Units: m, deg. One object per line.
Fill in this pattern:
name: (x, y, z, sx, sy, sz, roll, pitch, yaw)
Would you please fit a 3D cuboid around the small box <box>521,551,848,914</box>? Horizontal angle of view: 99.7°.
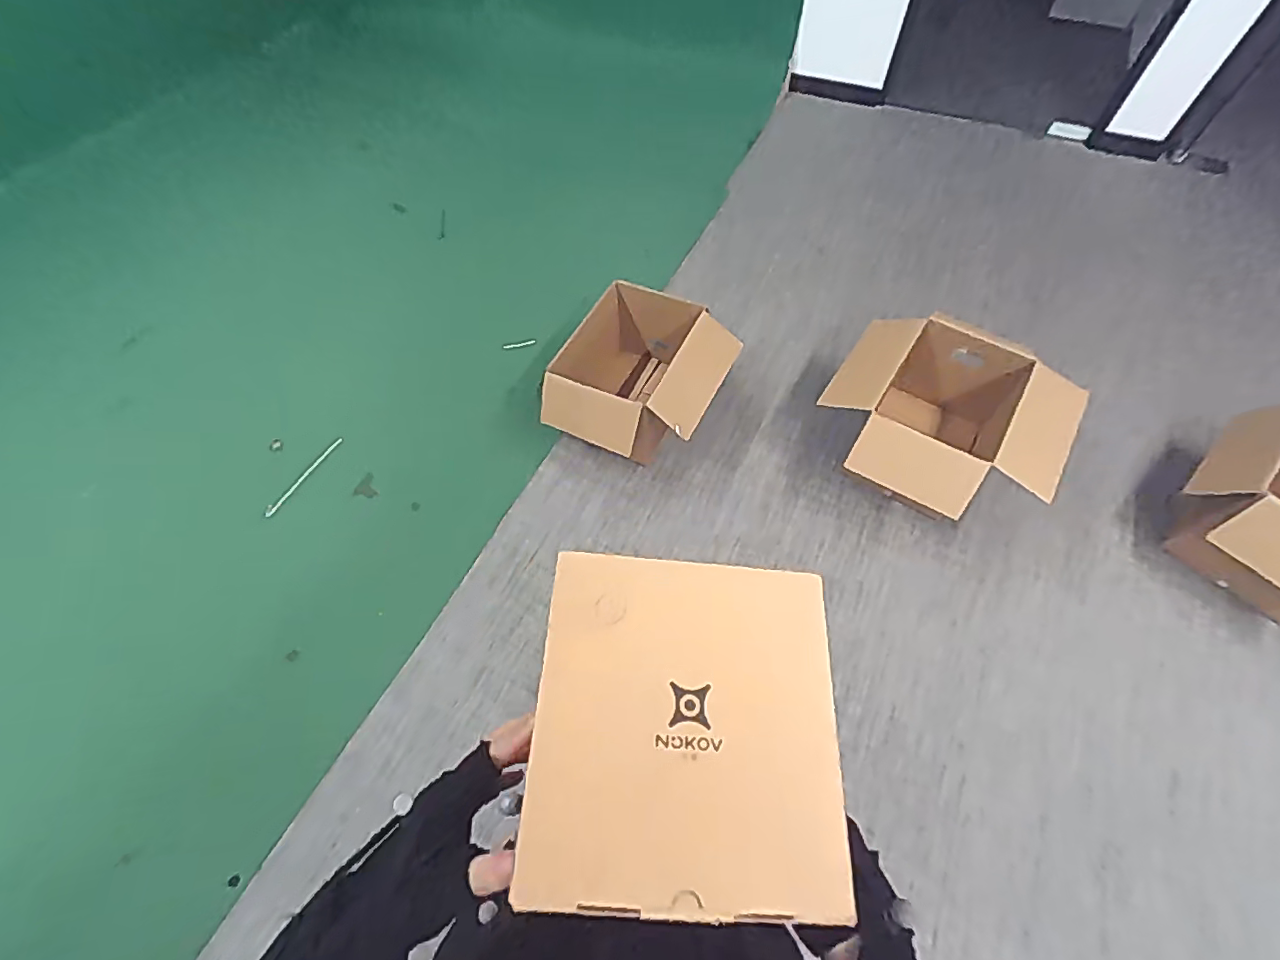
small box: (0.019, 0.165, 0.371, 0.168, 0.176, 0.179, 6, 63, -4)
